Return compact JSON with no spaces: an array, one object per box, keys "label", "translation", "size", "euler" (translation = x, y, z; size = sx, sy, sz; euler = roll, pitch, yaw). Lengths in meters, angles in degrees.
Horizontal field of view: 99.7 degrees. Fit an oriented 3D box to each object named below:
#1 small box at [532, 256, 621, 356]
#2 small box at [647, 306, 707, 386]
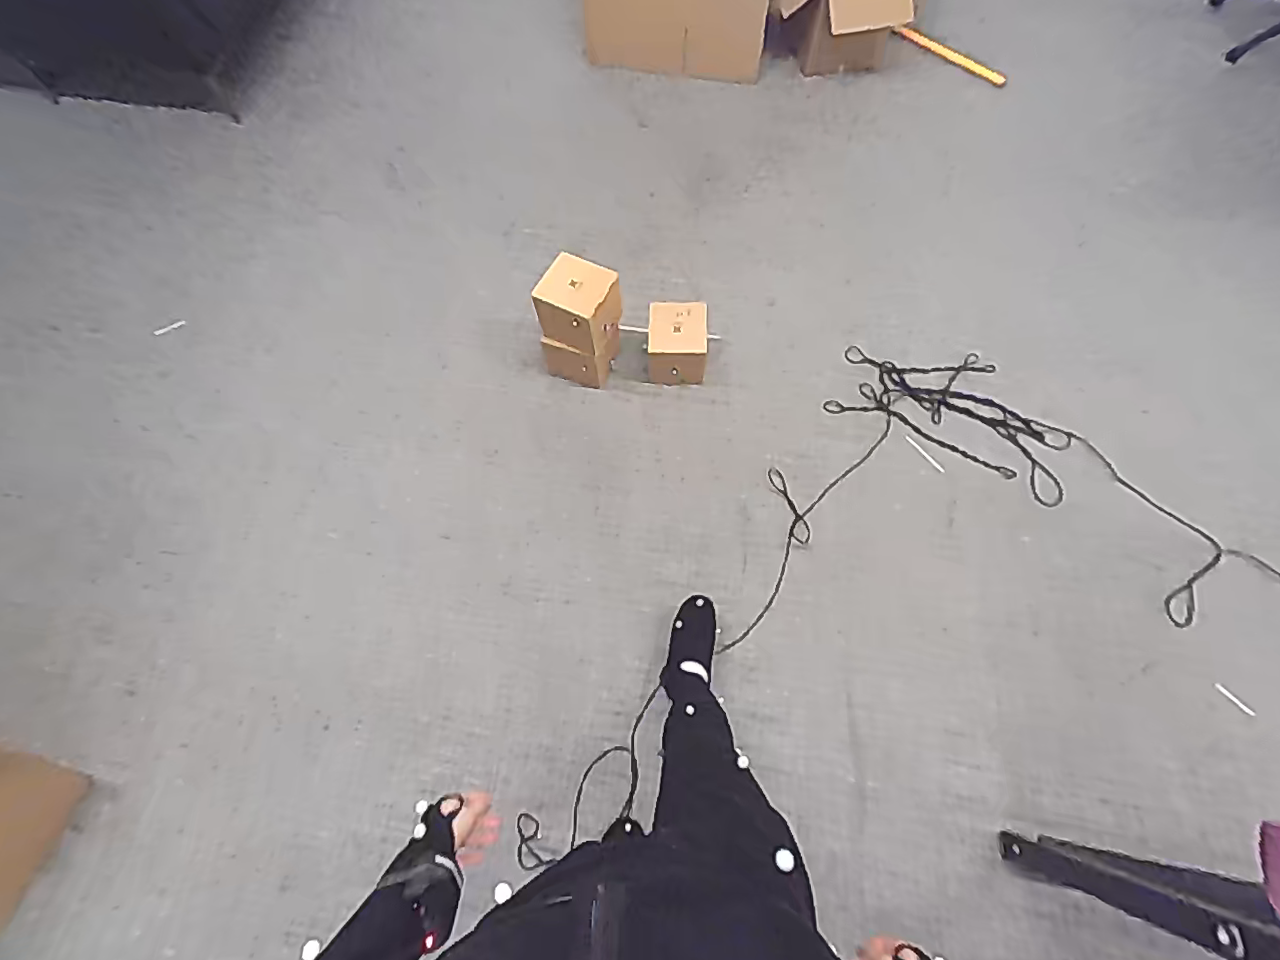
[{"label":"small box","translation":[-0.165,-0.466,1.470],"size":[0.179,0.176,0.168],"euler":[25,70,11]},{"label":"small box","translation":[0.111,-0.393,1.602],"size":[0.168,0.176,0.179],"euler":[2,67,3]}]
